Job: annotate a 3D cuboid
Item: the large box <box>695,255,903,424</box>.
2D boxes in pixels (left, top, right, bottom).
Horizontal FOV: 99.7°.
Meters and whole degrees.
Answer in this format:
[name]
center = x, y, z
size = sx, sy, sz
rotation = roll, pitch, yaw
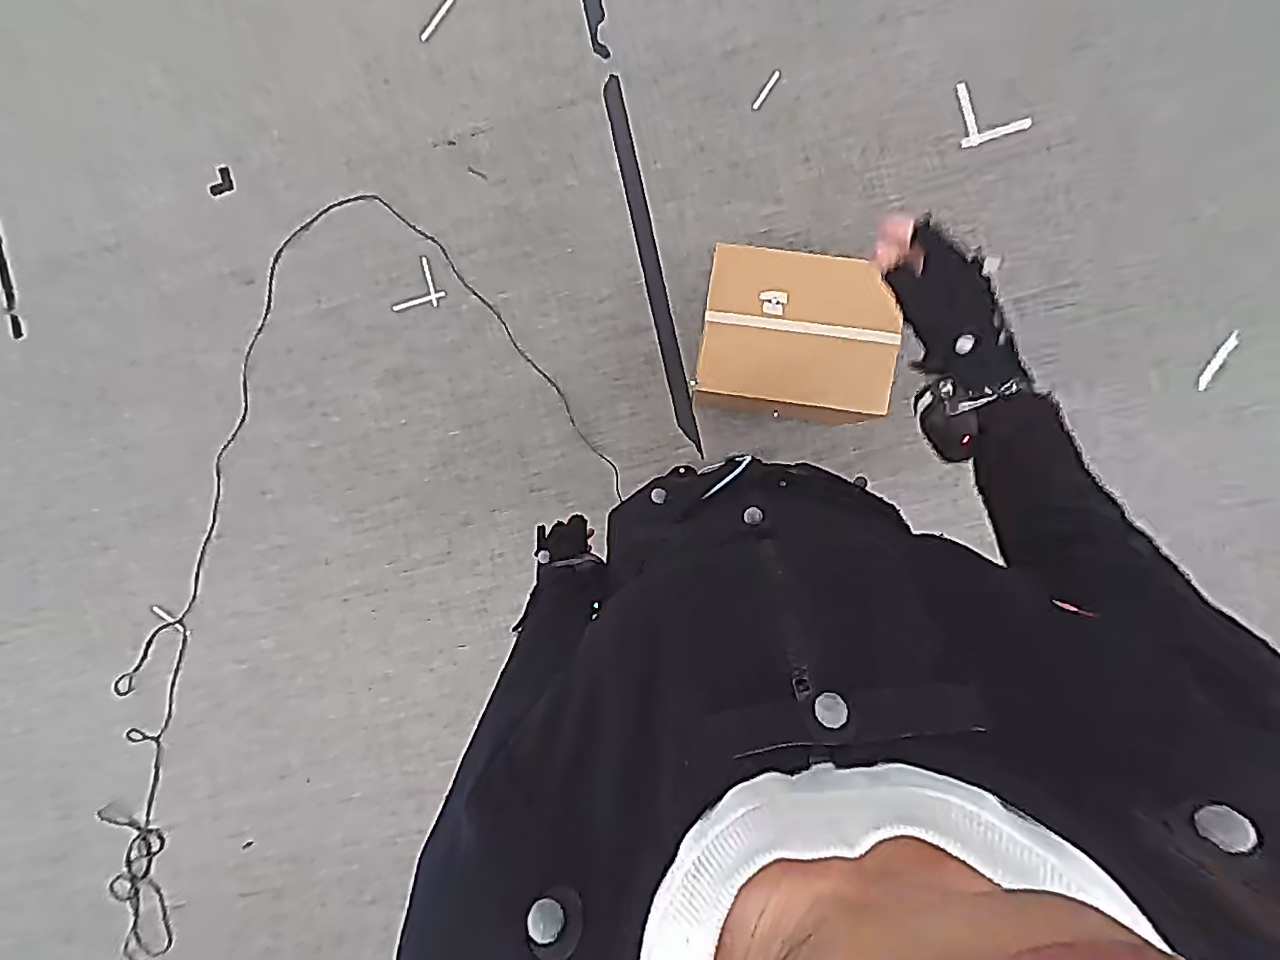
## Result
[large box]
center = 0.352, -0.315, 1.298
size = 0.408, 0.320, 0.320
rotation = 8, 91, 5
